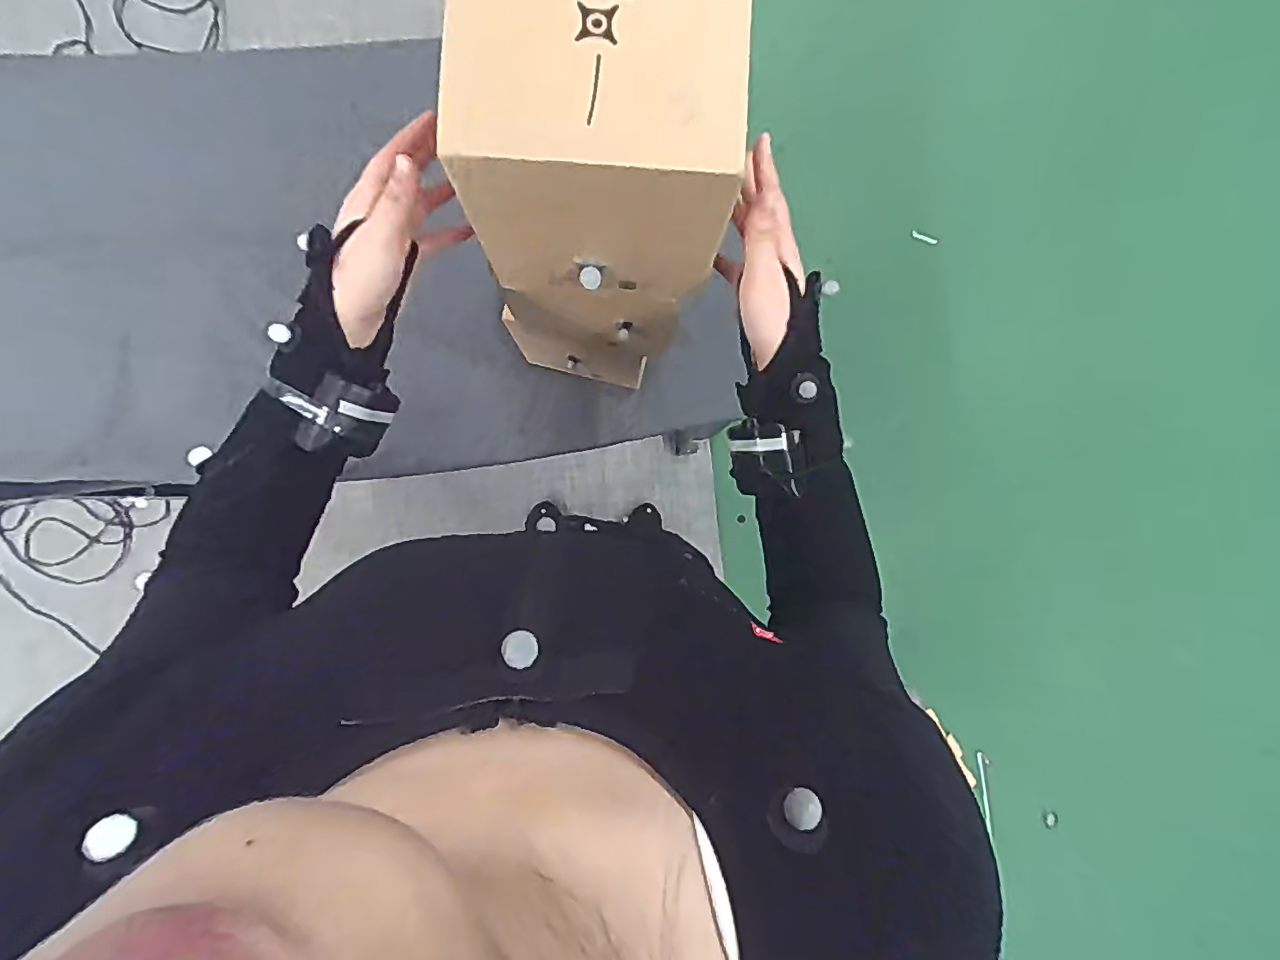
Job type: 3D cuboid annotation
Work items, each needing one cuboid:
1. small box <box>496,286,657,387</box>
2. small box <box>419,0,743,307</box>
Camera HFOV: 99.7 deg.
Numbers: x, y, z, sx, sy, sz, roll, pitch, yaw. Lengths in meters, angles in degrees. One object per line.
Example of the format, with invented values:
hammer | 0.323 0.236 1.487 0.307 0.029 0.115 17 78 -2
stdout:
small box | -0.064 -0.232 0.690 0.168 0.176 0.179 14 85 -1
small box | -0.030 -0.238 0.365 0.168 0.176 0.179 3 87 -1
